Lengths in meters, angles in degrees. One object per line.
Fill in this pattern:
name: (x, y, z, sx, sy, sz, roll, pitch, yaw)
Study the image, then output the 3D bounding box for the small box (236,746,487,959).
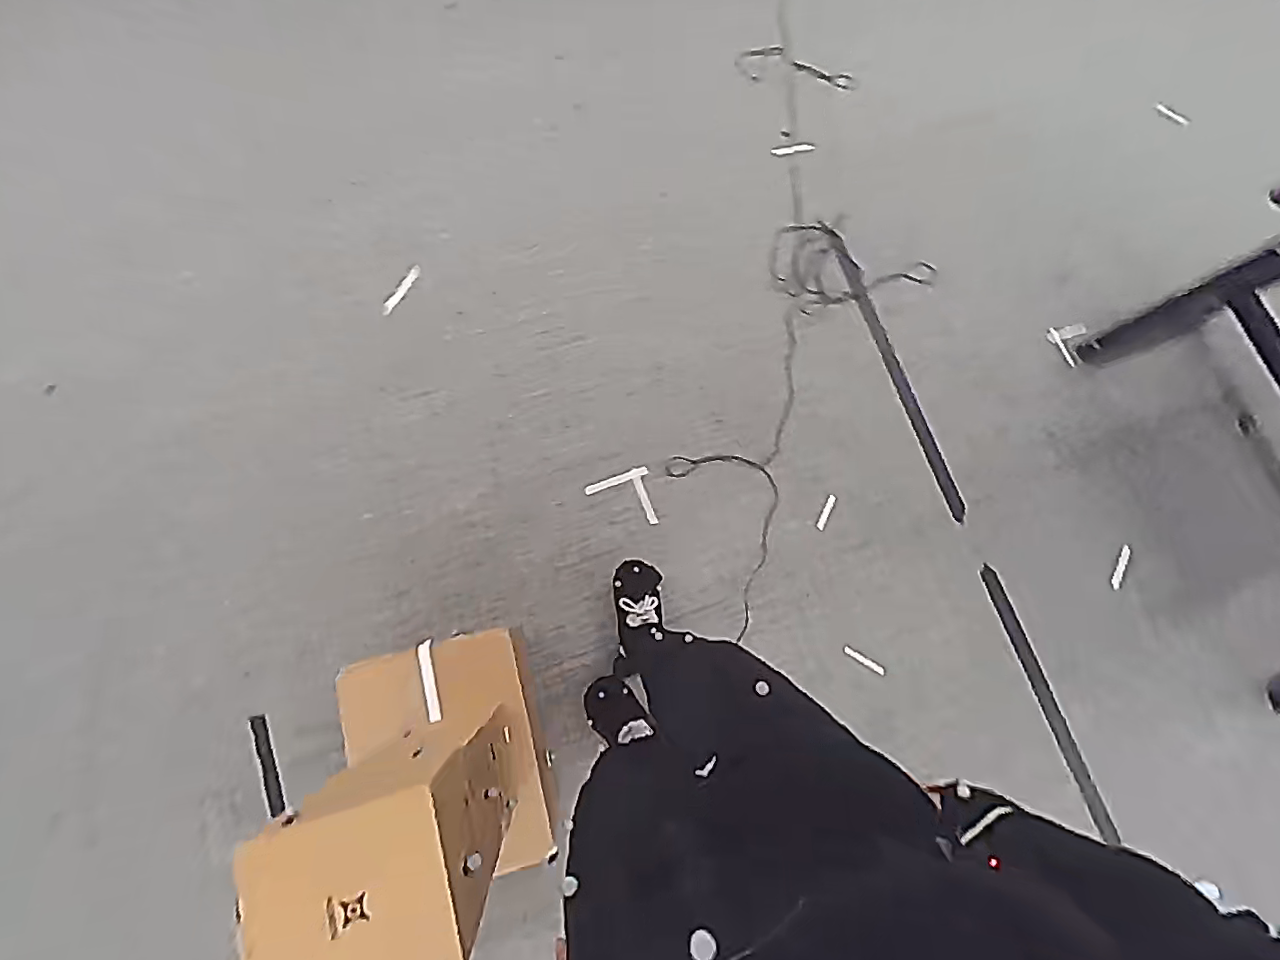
small box: (-0.263, 0.397, 0.554, 0.179, 0.176, 0.168, -15, 79, -11)

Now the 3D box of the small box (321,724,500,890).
small box: (-0.287, 0.440, 0.710, 0.179, 0.176, 0.168, -13, 78, -12)
